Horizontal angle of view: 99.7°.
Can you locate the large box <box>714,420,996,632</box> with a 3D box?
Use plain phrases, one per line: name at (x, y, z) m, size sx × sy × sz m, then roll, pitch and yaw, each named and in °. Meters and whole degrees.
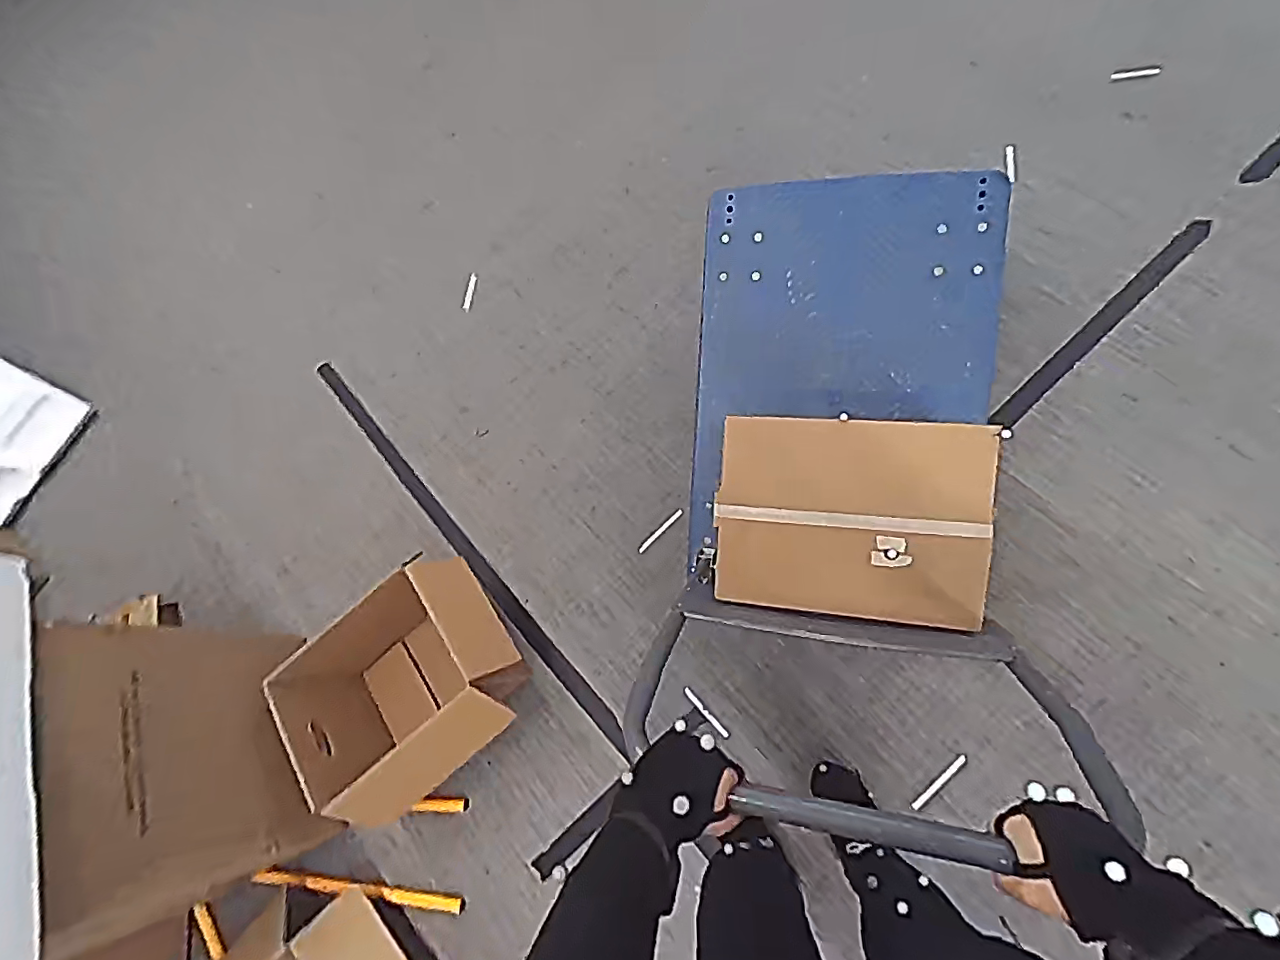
large box at (0.355, 0.058, 0.987) m, size 0.408 × 0.320 × 0.320 m, roll 4°, pitch 95°, yaw 14°
